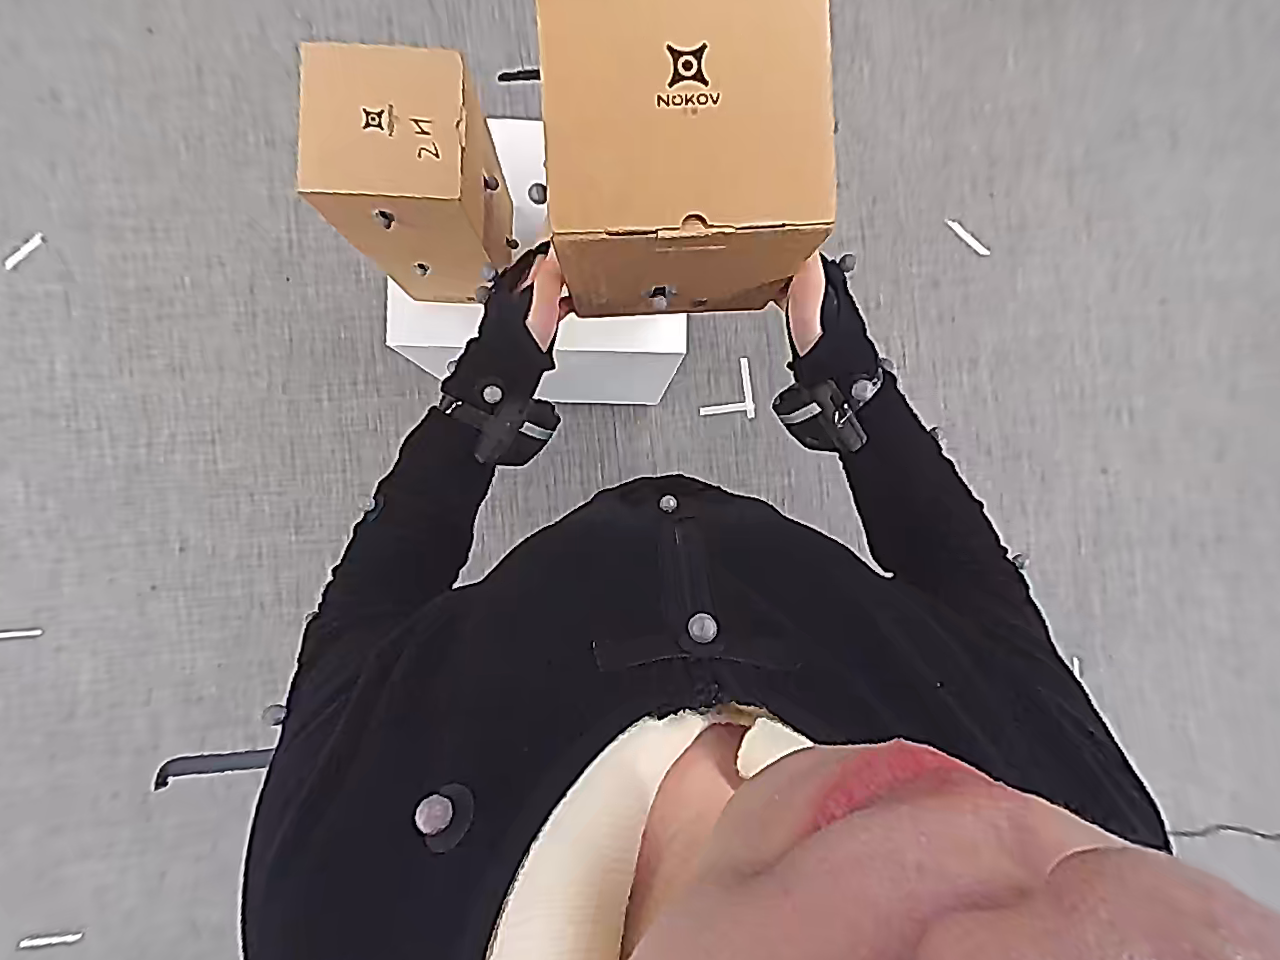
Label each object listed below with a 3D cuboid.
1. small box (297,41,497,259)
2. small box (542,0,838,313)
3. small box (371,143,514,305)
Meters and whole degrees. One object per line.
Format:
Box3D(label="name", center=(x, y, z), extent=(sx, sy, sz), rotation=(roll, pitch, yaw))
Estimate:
Box3D(label="small box", center=(-0.283, -0.387, 0.664), extent=(0.179, 0.176, 0.168), rotation=(1, 90, -4))
Box3D(label="small box", center=(0.024, -0.230, 0.382), extent=(0.168, 0.176, 0.179), rotation=(-4, 93, -2))
Box3D(label="small box", center=(-0.292, -0.388, 0.828), extent=(0.168, 0.176, 0.179), rotation=(2, 88, -3))
